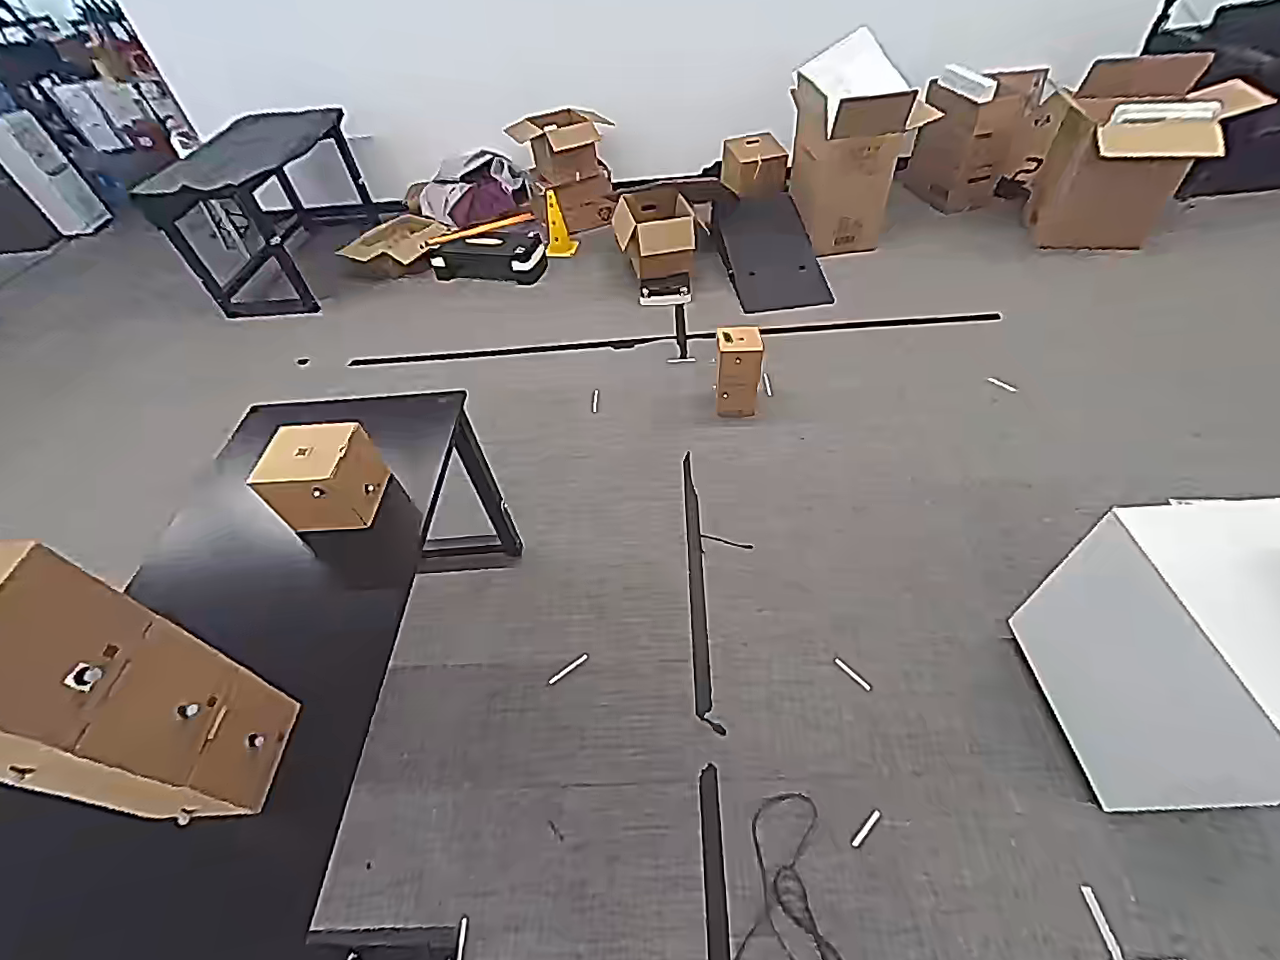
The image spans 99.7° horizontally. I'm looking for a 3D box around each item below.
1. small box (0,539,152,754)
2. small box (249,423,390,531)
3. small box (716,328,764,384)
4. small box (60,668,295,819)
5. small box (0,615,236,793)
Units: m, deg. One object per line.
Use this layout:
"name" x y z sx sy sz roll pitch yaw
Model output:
"small box" -0.695 0.181 0.569 0.179 0.176 0.168 -4 50 2
"small box" -0.679 -0.003 1.170 0.179 0.176 0.168 -3 49 3
"small box" 0.410 -0.513 2.250 0.179 0.176 0.168 -2 48 2
"small box" -0.668 0.398 0.813 0.179 0.176 0.168 -4 48 2
"small box" -0.683 0.289 0.691 0.179 0.176 0.168 -4 49 2
